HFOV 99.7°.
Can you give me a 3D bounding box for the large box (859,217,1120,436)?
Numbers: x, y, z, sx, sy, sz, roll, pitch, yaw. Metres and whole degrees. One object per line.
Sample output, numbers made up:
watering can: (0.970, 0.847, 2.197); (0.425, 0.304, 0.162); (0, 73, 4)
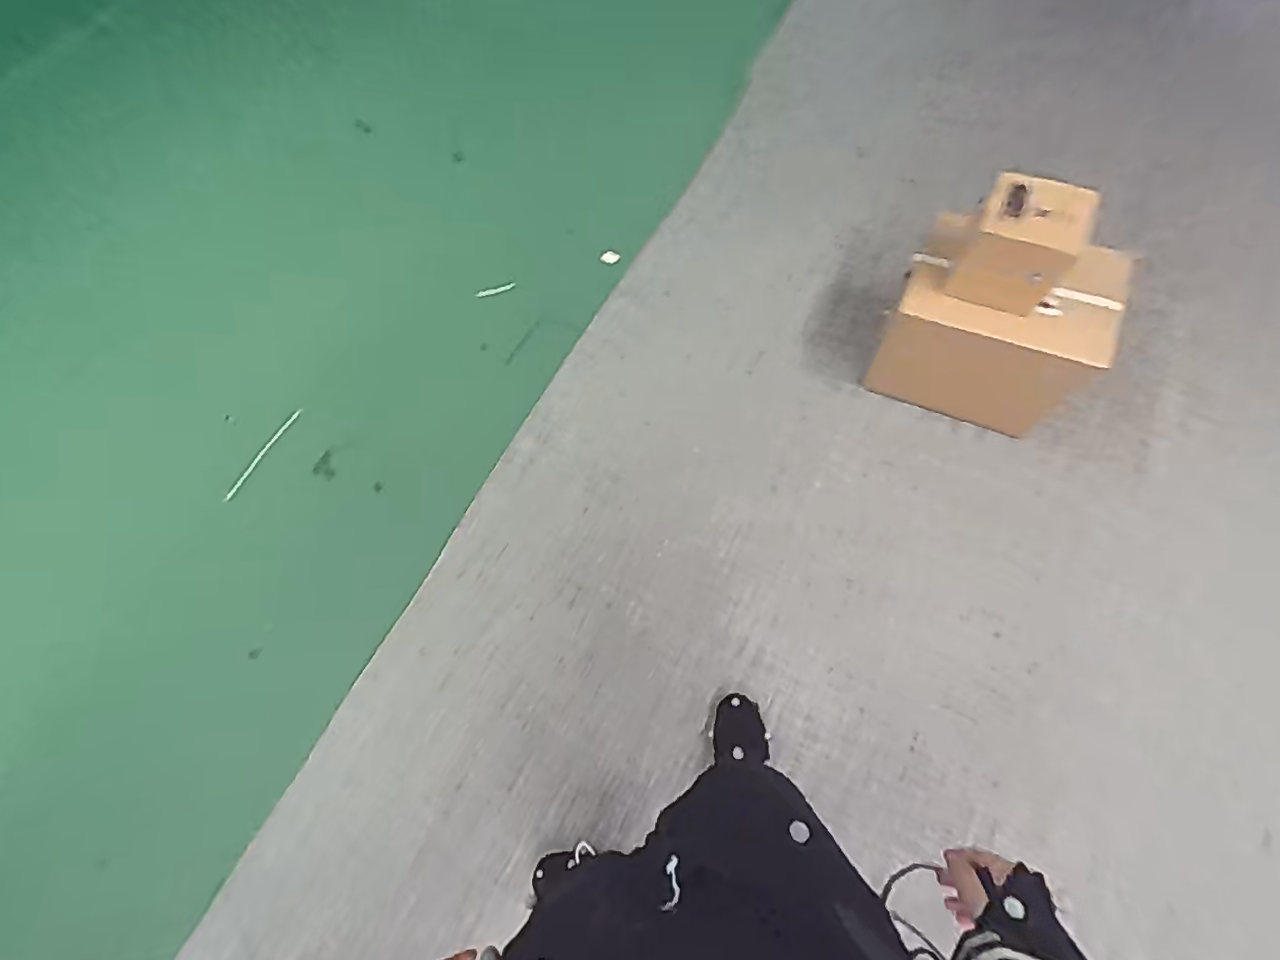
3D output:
large box: (0.799, -0.356, 1.291); (0.408, 0.320, 0.320); (21, 73, 14)
